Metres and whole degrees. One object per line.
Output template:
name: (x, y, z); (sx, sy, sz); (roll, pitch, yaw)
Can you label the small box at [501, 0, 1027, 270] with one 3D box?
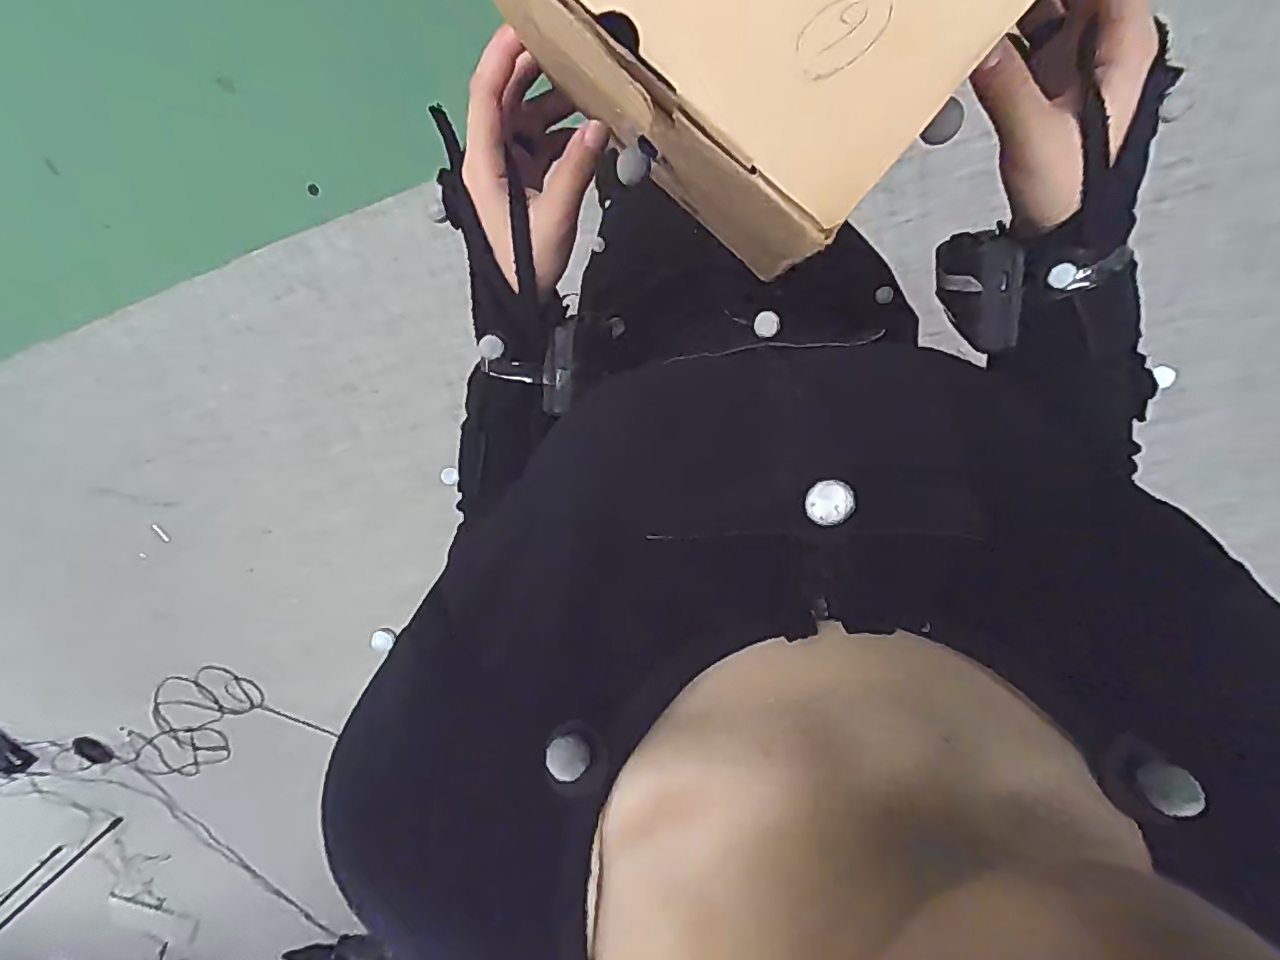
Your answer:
small box: (0.059, -0.209, 0.219); (0.168, 0.176, 0.179); (40, 107, -5)
